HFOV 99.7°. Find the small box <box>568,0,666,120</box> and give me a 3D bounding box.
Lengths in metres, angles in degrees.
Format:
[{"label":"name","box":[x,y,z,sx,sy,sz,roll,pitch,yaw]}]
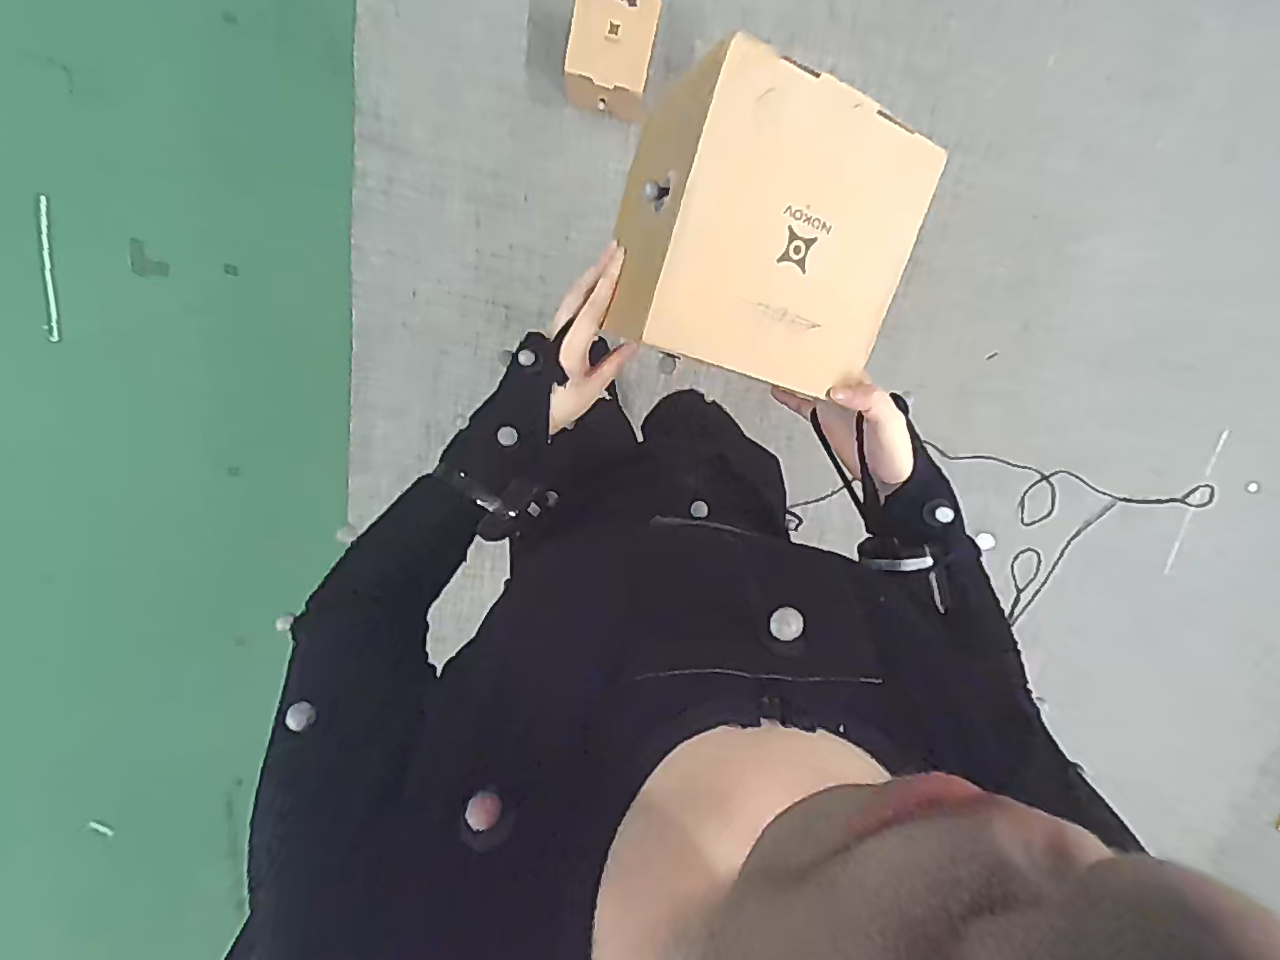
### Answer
[{"label":"small box","box":[-0.051,-0.903,1.146,0.168,0.176,0.179,12,105,-8]}]
